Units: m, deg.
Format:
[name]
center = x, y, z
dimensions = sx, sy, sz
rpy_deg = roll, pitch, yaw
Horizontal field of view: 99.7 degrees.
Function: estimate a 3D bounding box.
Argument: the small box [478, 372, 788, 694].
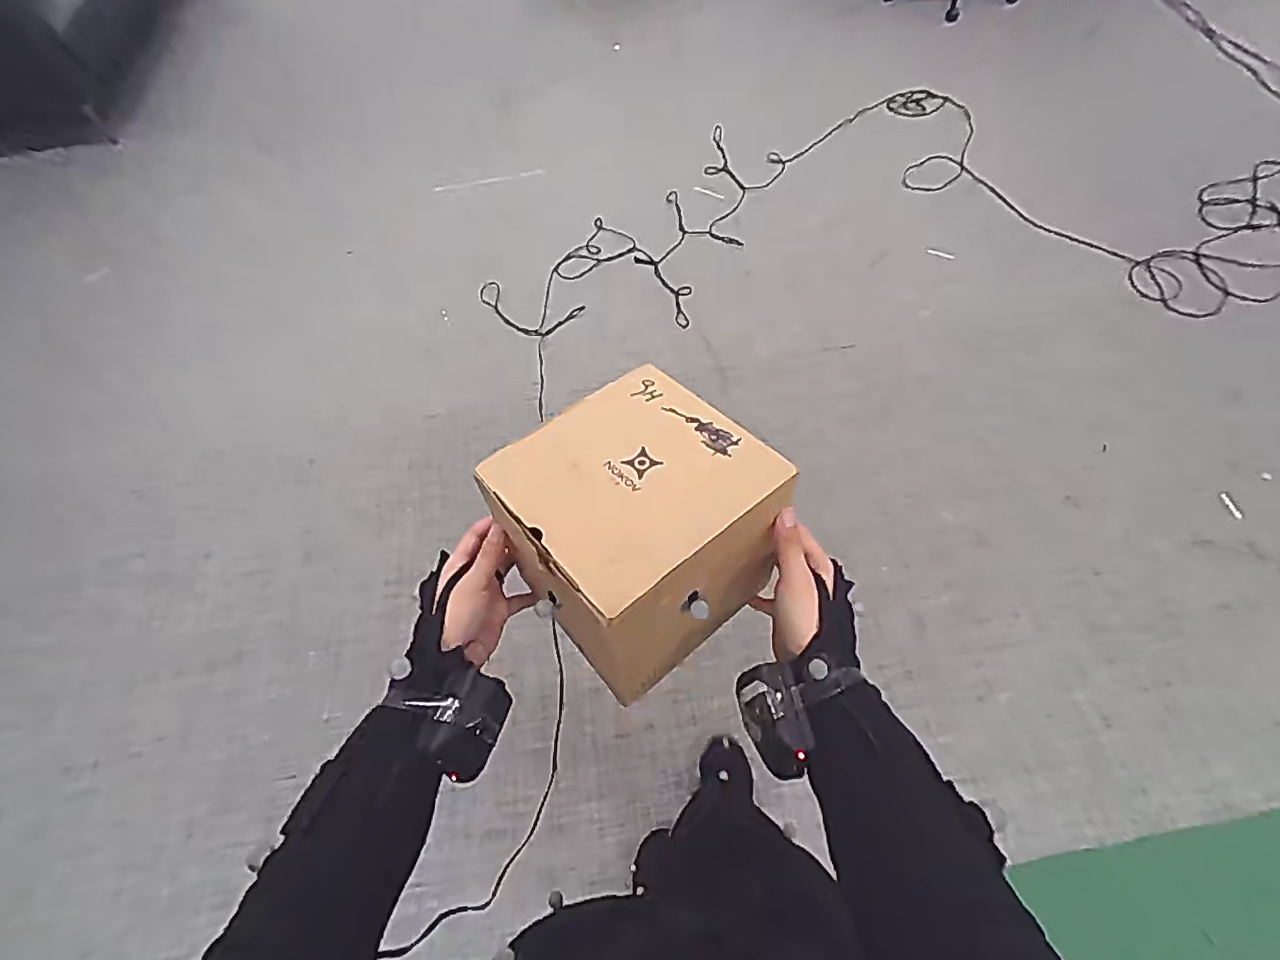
[small box]
center = -0.002, 0.047, 0.460
dimensions = 0.179, 0.176, 0.168
rpy_deg = -35, 57, -22
